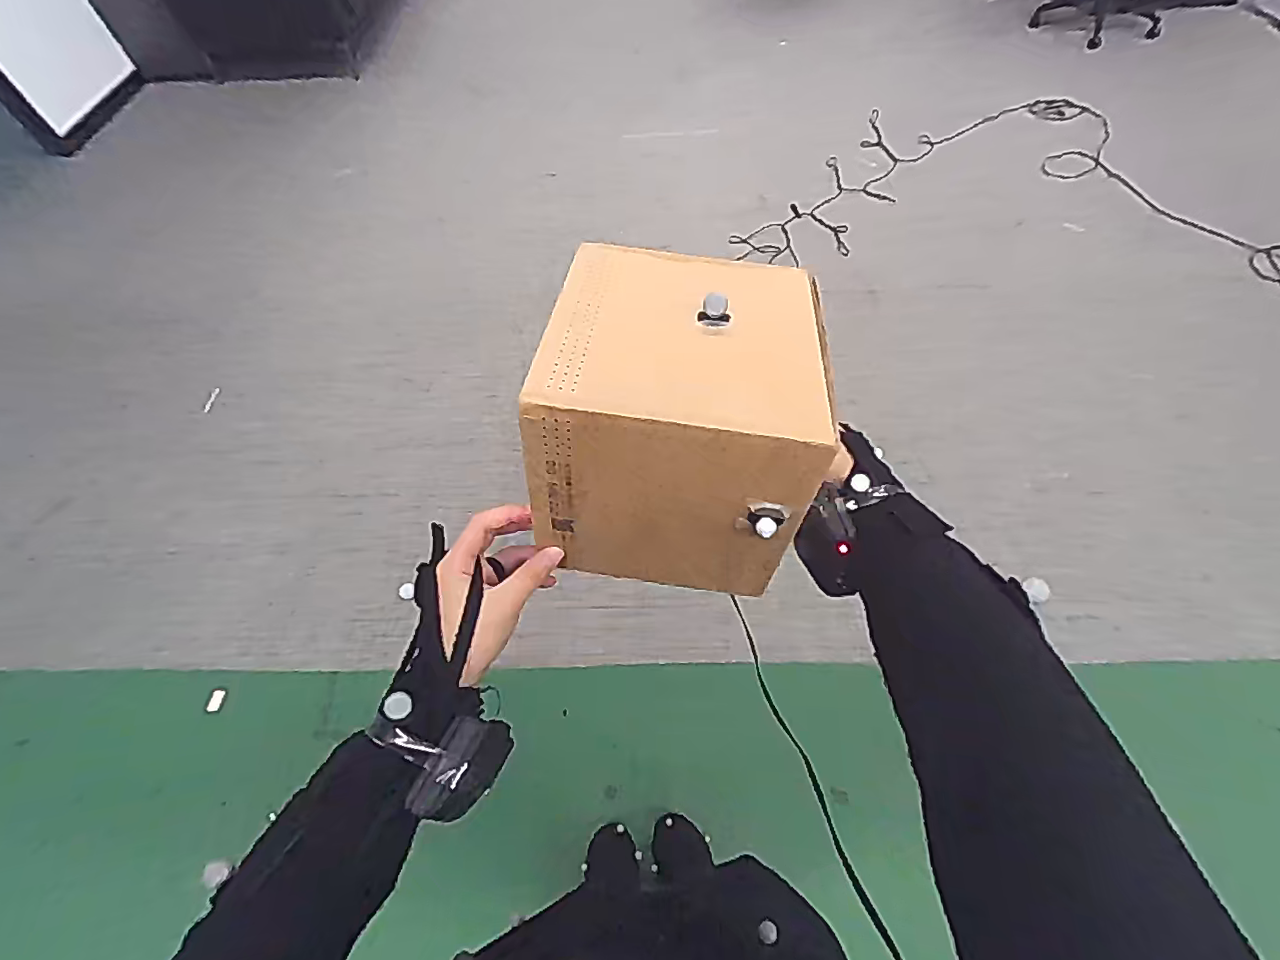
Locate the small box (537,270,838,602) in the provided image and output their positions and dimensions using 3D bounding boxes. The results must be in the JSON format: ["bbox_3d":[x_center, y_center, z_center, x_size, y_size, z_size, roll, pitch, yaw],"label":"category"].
[{"bbox_3d":[0.025,-0.035,0.401,0.176,0.168,0.179,8,49,1],"label":"small box"}]
